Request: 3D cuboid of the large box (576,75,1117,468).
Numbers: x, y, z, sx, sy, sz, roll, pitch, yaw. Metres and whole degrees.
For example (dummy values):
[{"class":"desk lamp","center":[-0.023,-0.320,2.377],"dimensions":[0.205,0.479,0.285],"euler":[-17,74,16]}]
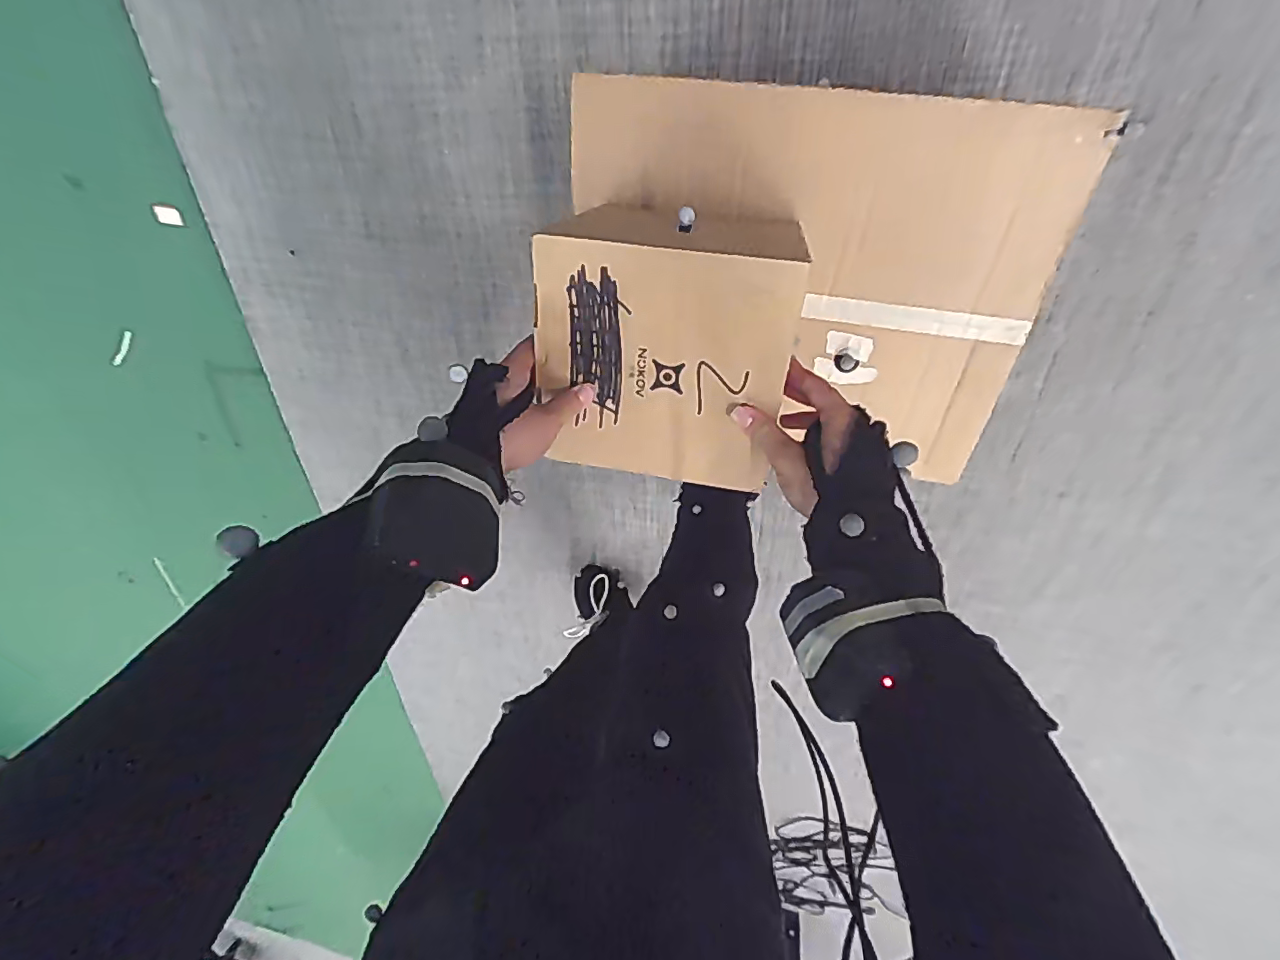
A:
[{"class":"large box","center":[0.164,-0.245,0.610],"dimensions":[0.408,0.320,0.320],"euler":[9,125,8]}]
